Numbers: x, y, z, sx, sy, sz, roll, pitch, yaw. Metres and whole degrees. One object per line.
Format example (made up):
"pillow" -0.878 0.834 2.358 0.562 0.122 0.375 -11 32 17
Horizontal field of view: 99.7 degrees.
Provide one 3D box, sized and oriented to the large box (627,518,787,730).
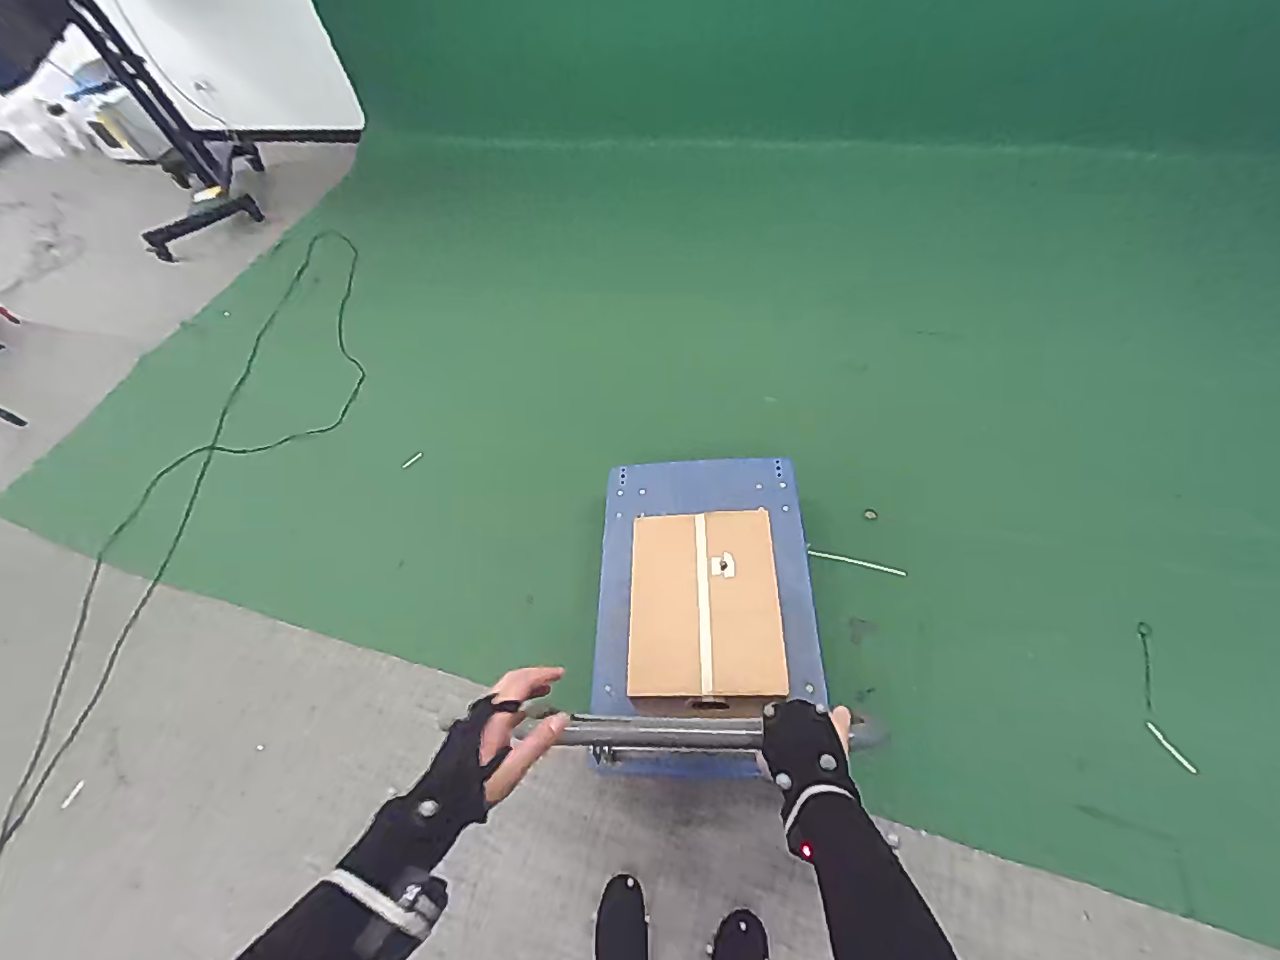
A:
"large box" 0.155 0.345 1.274 0.320 0.320 0.408 -3 55 8
